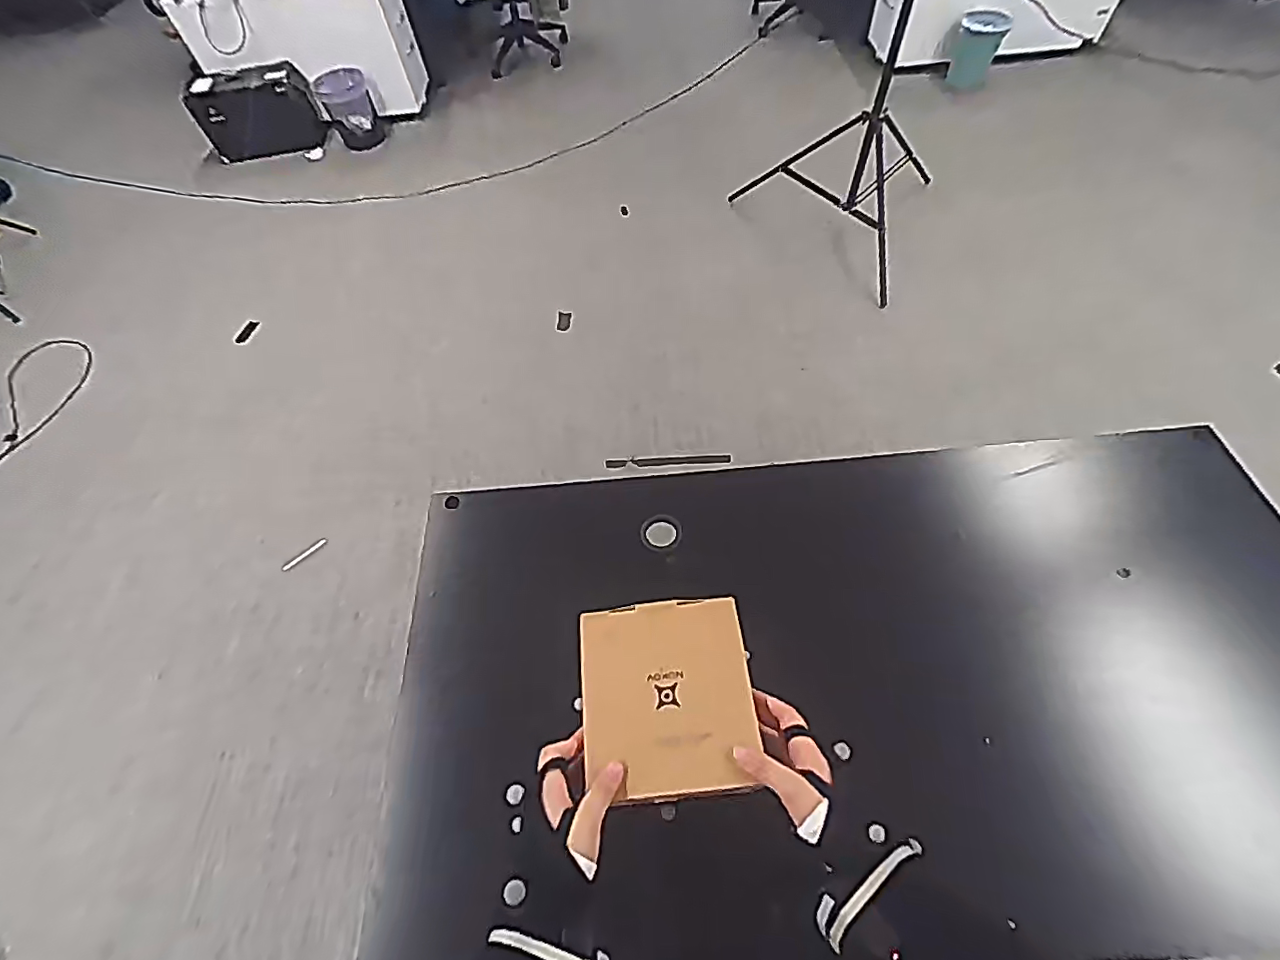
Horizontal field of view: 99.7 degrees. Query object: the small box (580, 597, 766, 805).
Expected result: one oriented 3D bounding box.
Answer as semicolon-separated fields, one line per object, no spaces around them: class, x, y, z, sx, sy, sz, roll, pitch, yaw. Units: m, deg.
small box;0.030;0.247;0.594;0.168;0.176;0.179;-8;58;1
